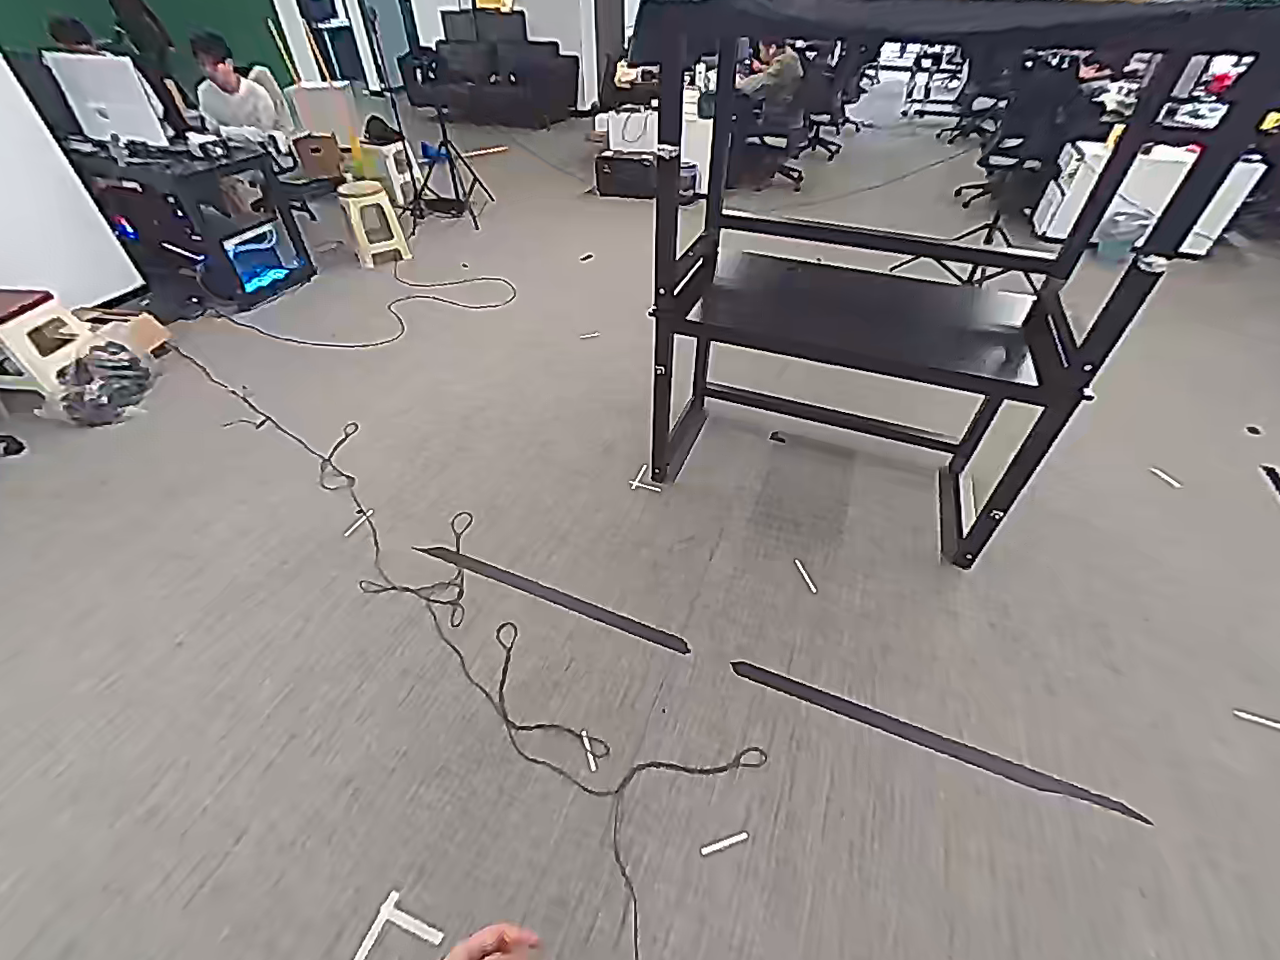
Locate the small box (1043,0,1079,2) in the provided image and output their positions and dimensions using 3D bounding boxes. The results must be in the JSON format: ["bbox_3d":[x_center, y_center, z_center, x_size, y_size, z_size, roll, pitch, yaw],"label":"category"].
[{"bbox_3d":[0.861,-0.993,0.991,0.168,0.176,0.179,19,44,19],"label":"small box"}]
